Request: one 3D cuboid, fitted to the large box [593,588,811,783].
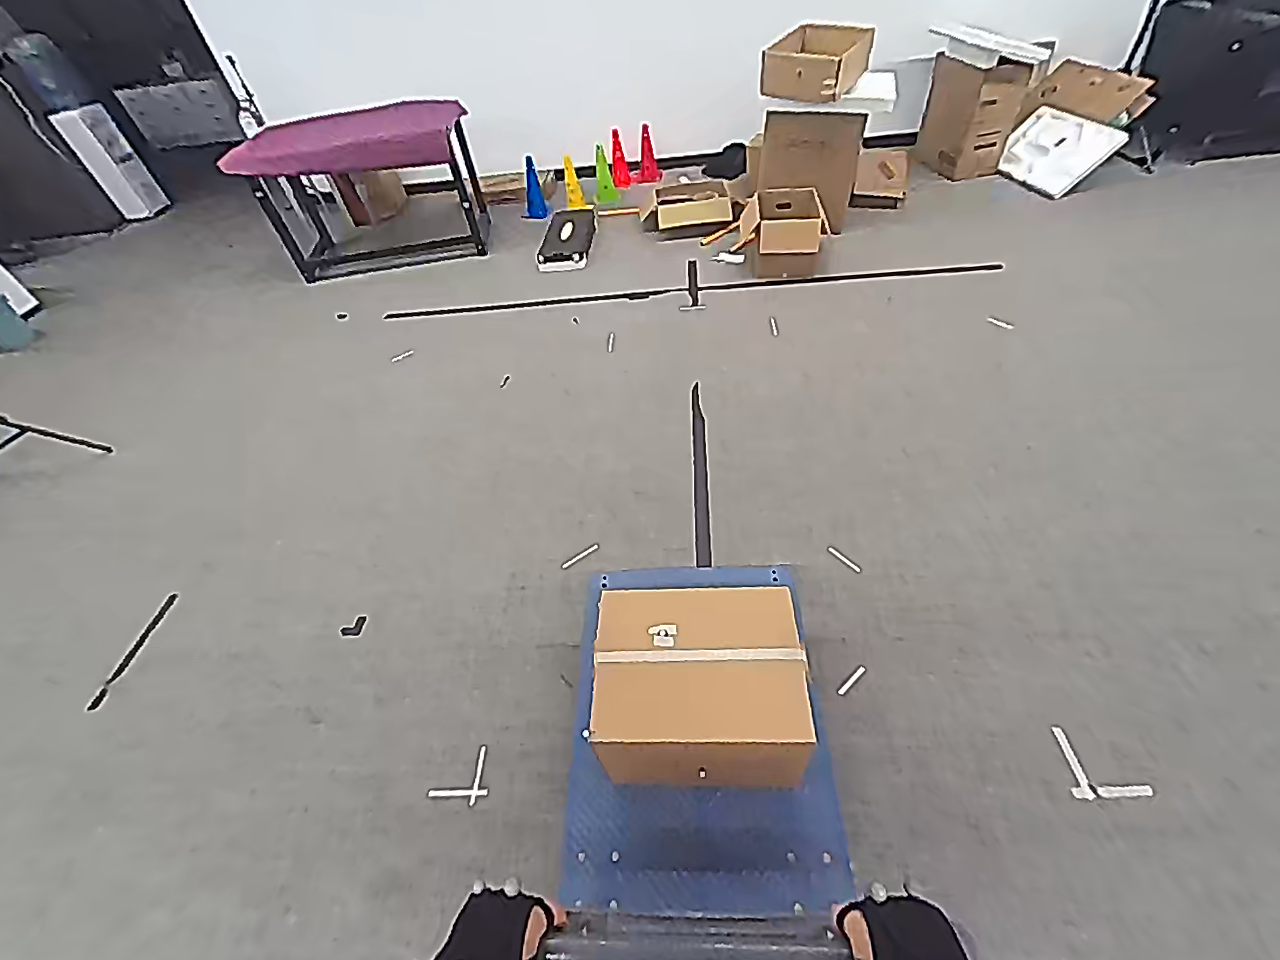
[{"bbox_3d":[0.130,0.460,1.190,0.408,0.320,0.320,-4,47,6],"label":"large box"}]
